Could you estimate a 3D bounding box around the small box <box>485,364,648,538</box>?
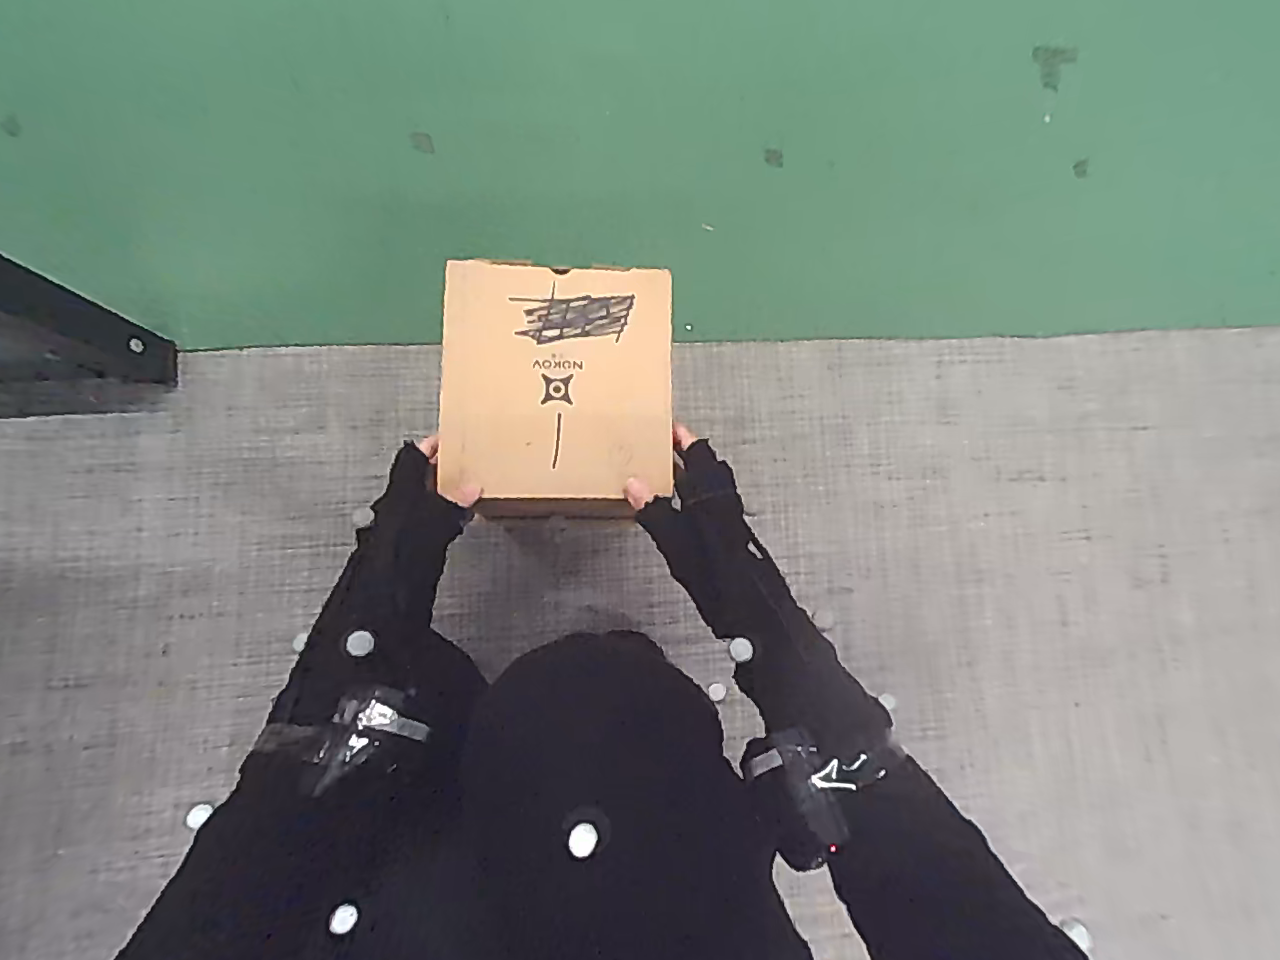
[{"bbox_3d":[-0.080,-0.023,0.633,0.168,0.176,0.179,0,83,-4],"label":"small box"}]
